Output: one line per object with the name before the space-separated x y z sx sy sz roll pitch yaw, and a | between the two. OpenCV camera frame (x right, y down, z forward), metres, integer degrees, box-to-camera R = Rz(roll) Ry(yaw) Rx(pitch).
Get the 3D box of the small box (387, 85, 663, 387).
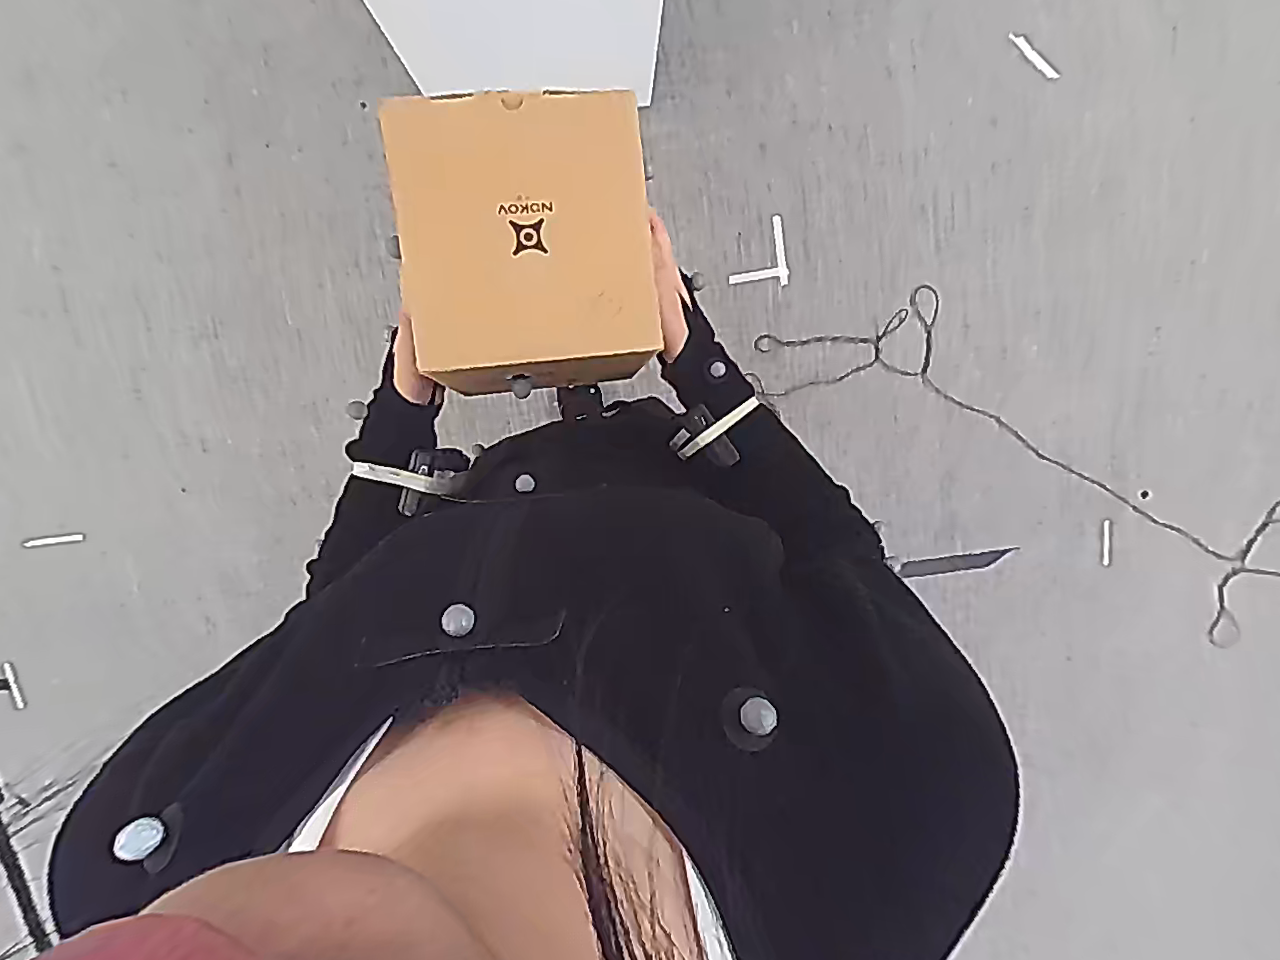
small box | -0.082 -0.173 0.437 0.168 0.176 0.179 -7 93 -7
